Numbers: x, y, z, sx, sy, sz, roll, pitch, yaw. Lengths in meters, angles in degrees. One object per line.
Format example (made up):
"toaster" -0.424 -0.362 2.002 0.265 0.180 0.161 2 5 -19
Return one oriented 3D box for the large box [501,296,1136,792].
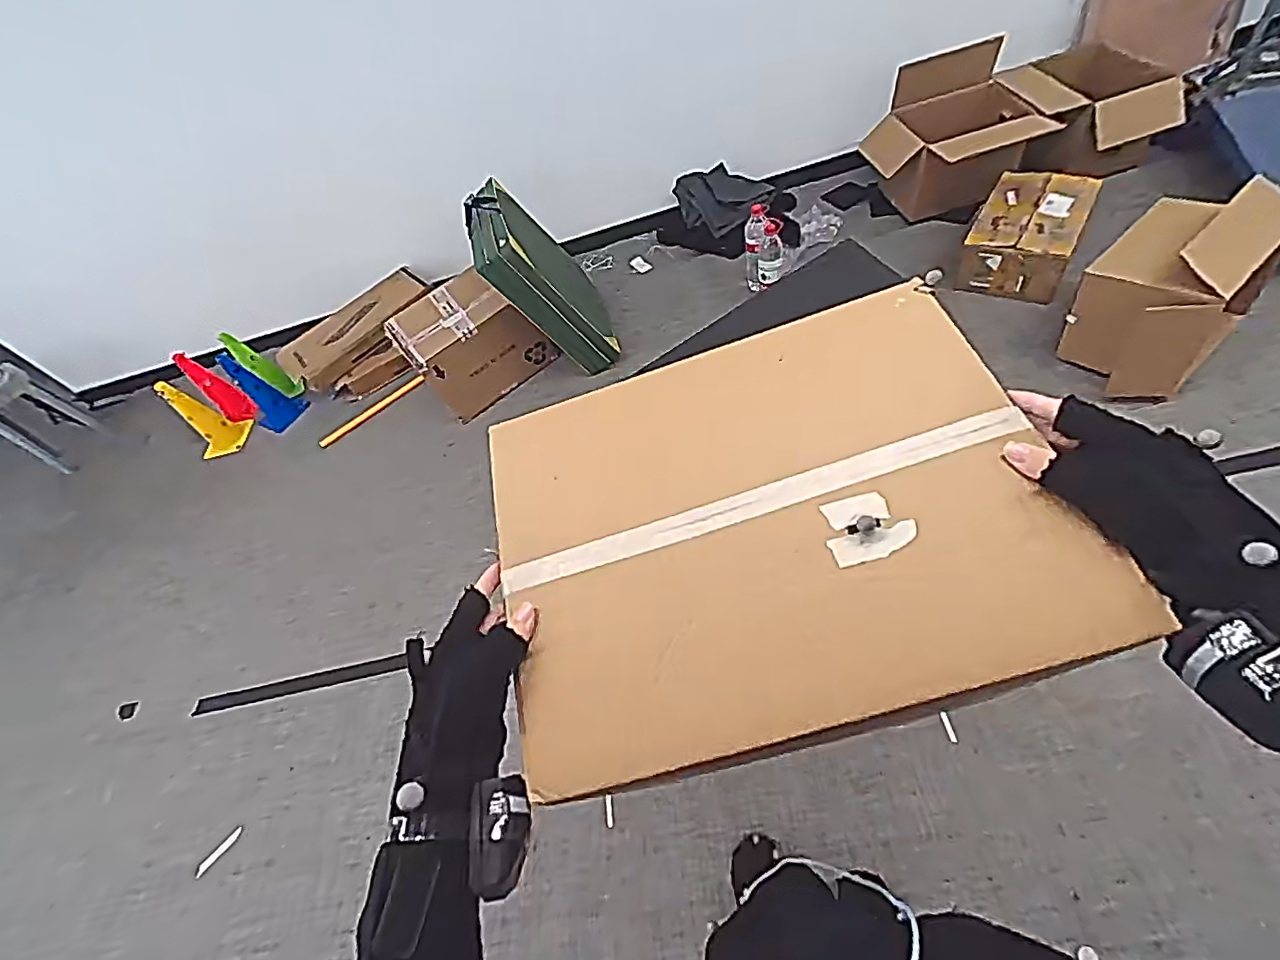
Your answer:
"large box" 0.121 0.091 0.552 0.408 0.320 0.320 -18 60 5
